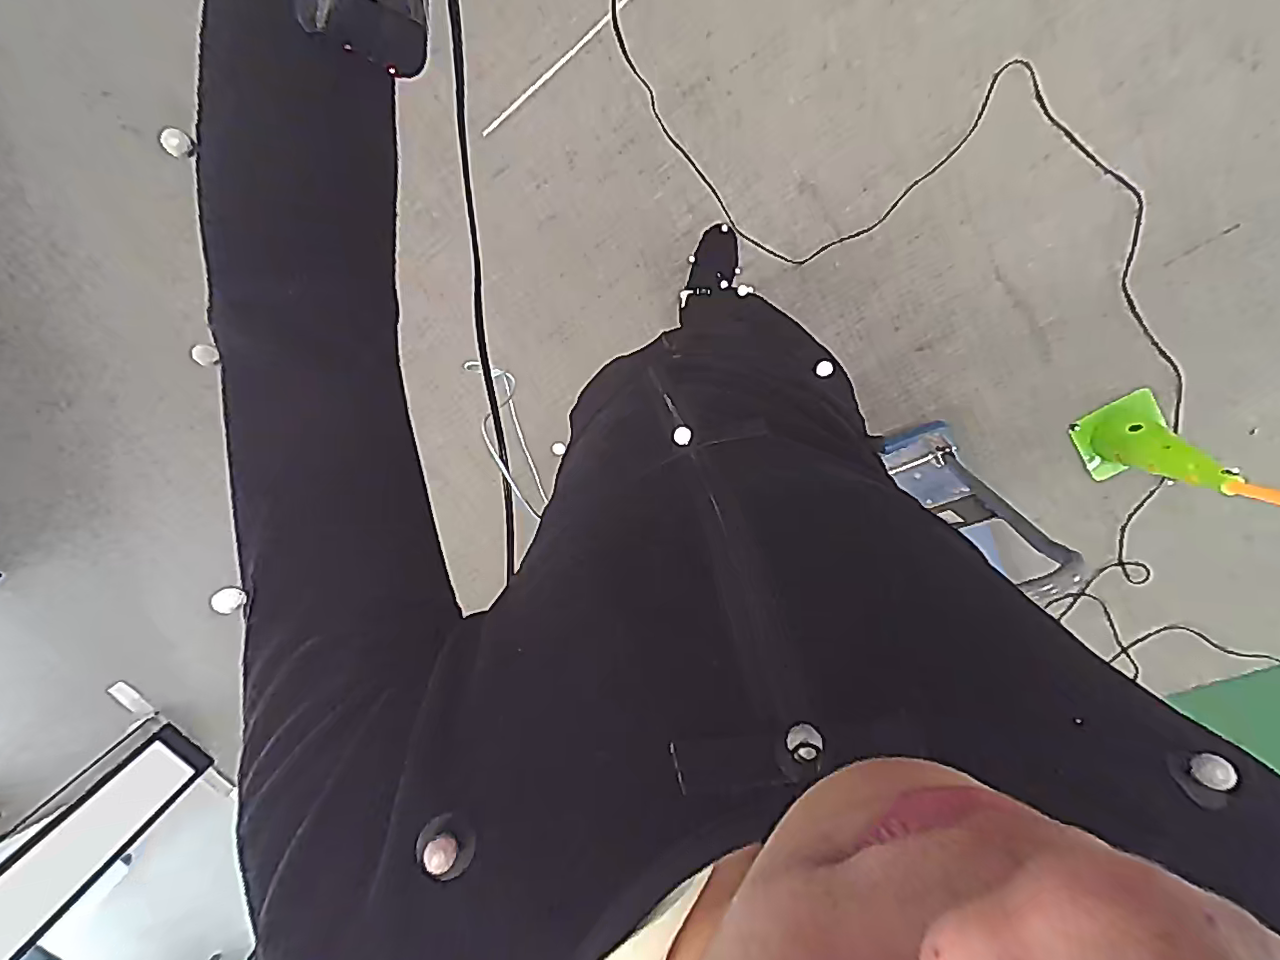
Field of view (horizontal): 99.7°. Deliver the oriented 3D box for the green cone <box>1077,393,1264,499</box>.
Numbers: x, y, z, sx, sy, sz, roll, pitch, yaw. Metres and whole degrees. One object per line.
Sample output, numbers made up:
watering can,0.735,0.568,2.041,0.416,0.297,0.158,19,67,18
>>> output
green cone,1.269,-0.039,1.268,0.202,0.368,0.200,-34,104,18
